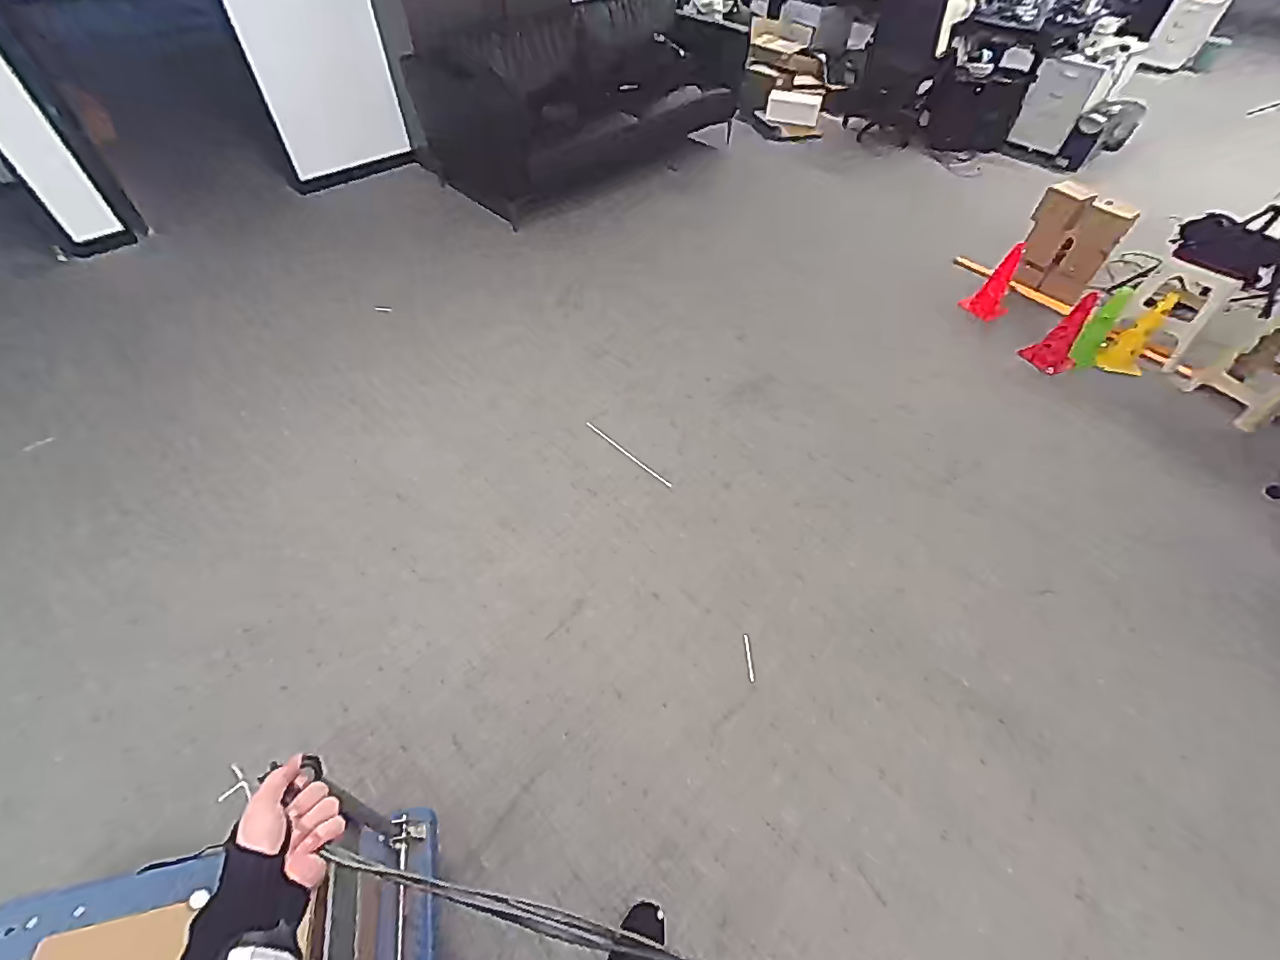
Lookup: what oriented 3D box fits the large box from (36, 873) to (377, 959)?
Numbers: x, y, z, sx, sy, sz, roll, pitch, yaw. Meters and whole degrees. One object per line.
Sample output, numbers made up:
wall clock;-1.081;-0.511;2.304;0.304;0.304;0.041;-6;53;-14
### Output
large box;-0.696;0.893;0.888;0.408;0.320;0.320;-10;51;-9
